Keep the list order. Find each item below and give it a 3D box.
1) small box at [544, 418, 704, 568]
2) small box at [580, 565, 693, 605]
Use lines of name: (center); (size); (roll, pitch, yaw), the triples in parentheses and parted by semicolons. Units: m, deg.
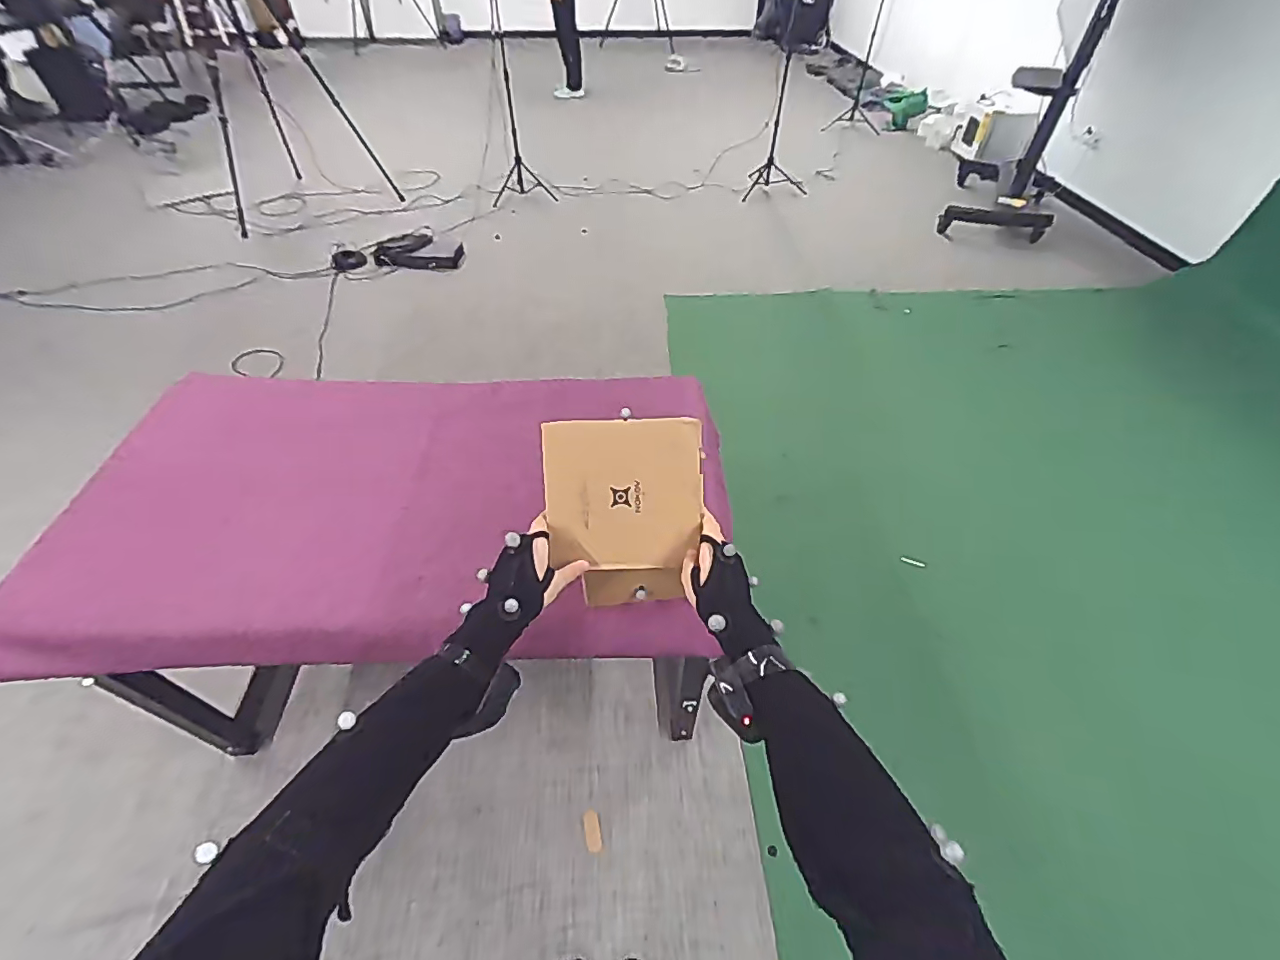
small box: (-0.020, 0.007, 0.673); (0.179, 0.168, 0.176); (-1, 6, -1)
small box: (-0.009, 0.084, 0.870); (0.179, 0.176, 0.168); (-5, 47, -4)
